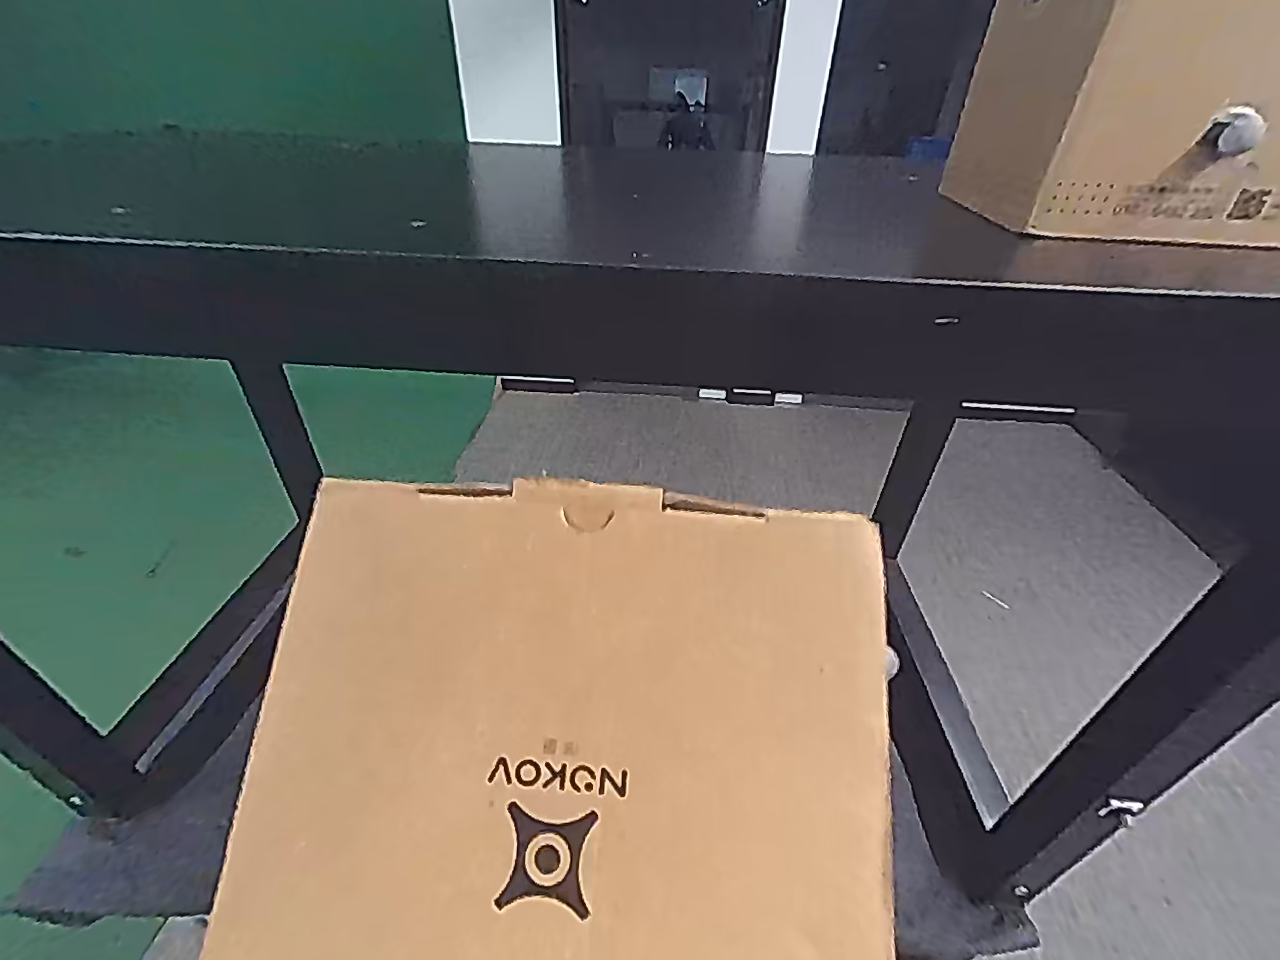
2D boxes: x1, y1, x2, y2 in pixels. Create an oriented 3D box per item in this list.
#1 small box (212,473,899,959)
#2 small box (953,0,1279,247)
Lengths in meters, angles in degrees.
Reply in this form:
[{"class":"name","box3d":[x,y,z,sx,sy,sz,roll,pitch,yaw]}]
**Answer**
[{"class":"small box","box3d":[-0.014,0.108,0.213,0.168,0.176,0.179,3,73,4]},{"class":"small box","box3d":[0.314,-0.248,0.317,0.168,0.176,0.179,6,36,8]}]
